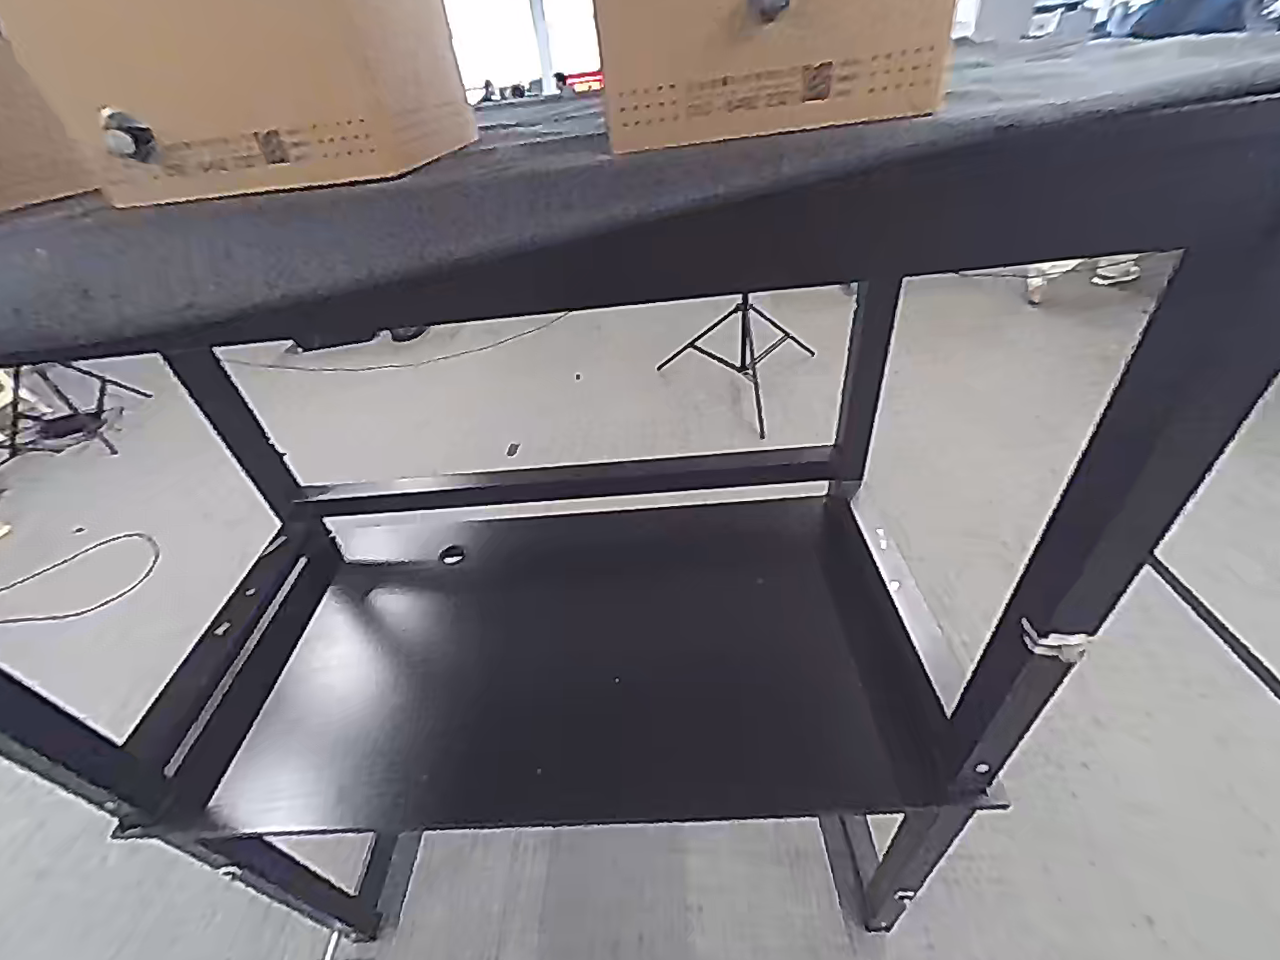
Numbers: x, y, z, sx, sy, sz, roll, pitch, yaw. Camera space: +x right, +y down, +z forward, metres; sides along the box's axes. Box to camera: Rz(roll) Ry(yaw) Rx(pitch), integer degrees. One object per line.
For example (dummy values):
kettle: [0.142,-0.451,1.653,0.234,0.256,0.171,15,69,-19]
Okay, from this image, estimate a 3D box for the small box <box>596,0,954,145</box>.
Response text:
small box: [0.061,-0.293,0.292,0.168,0.176,0.179,-4,38,6]

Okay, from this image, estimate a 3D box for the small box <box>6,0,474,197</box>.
small box: [-0.213,-0.272,0.312,0.168,0.176,0.179,-4,37,4]
